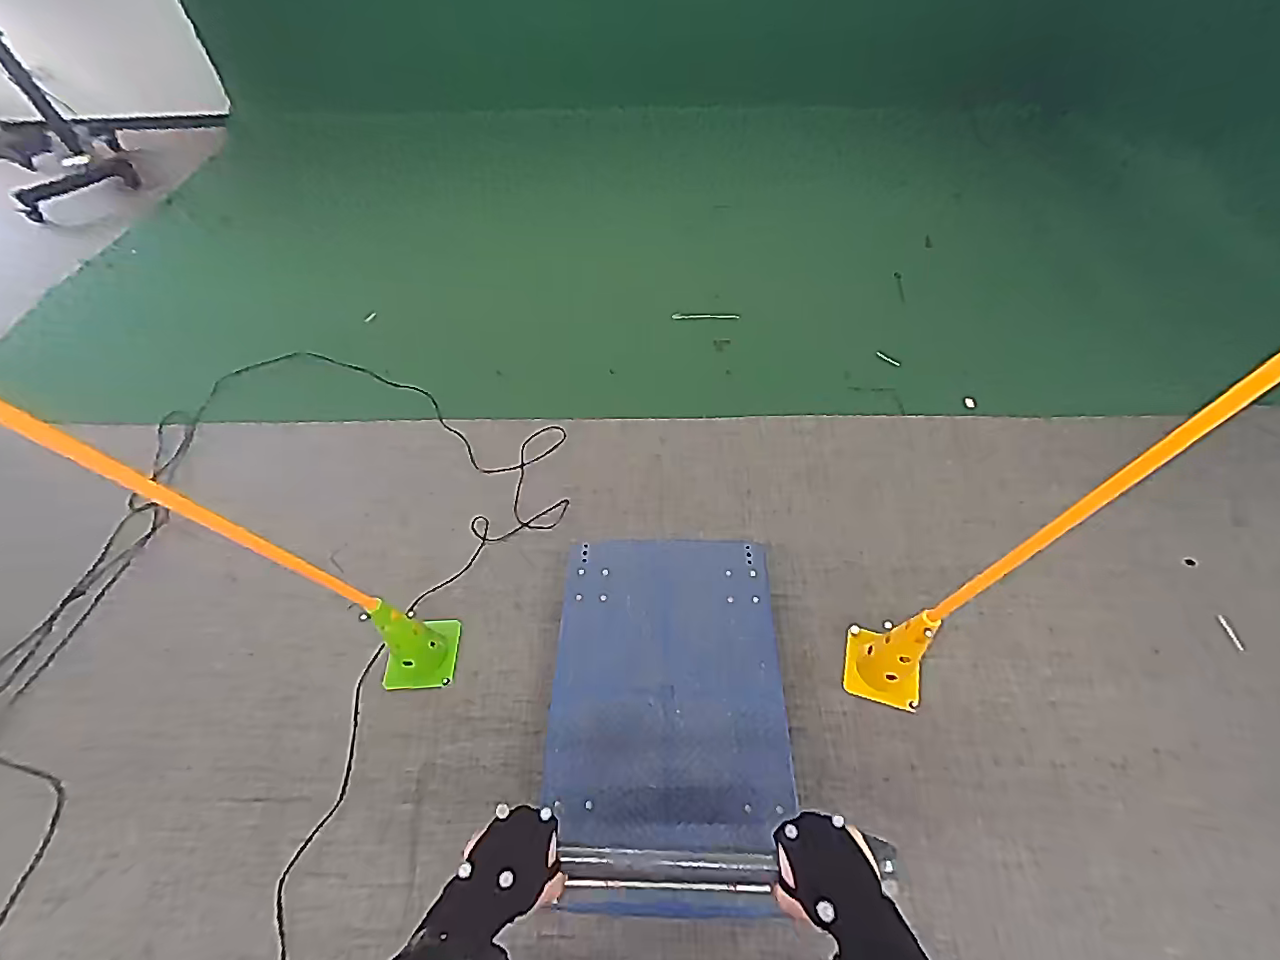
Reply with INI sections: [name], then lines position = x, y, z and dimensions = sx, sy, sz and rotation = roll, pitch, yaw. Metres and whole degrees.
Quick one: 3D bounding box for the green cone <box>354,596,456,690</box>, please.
[green cone]
position = -0.655, 0.401, 1.444
dimensions = 0.202, 0.368, 0.200
rotation = -4, 52, 1
